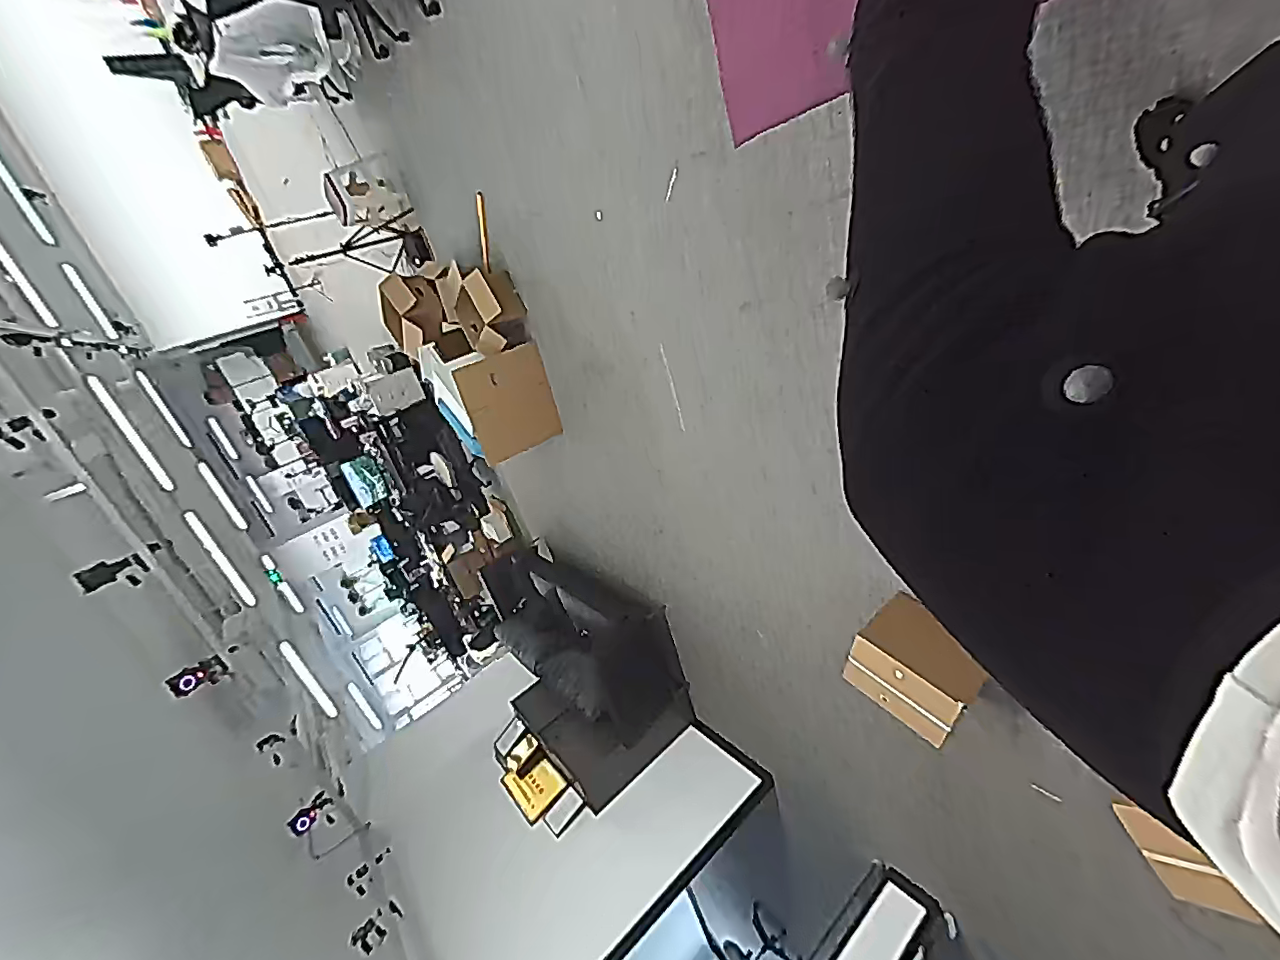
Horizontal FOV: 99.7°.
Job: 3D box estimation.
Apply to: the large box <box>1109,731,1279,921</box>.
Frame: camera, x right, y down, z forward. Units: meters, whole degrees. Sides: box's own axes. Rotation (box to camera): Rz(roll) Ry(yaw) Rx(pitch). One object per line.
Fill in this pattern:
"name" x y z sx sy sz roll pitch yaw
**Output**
"large box" 1.614 0.913 1.449 0.320 0.320 0.408 56 150 3
